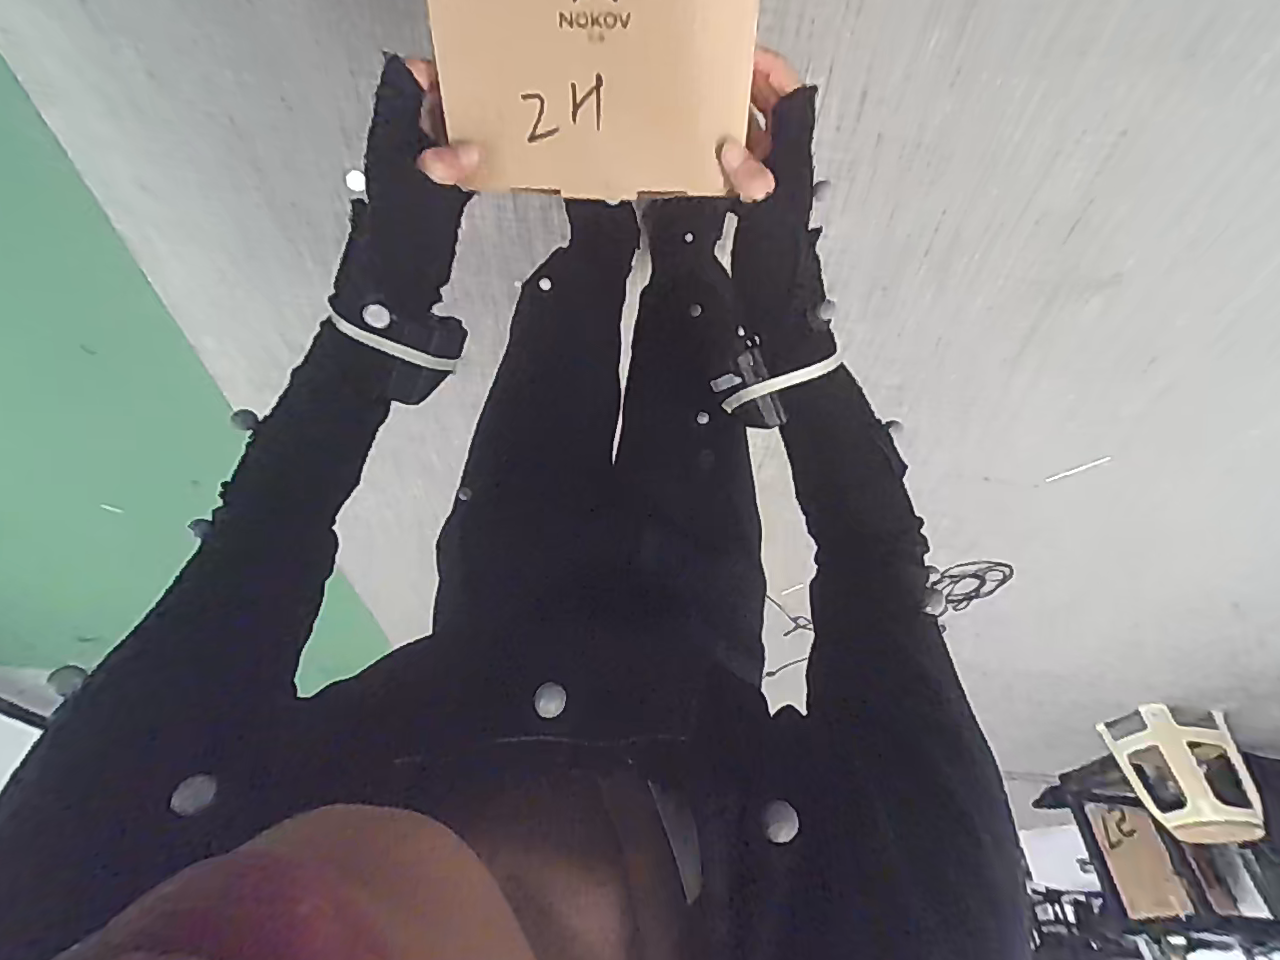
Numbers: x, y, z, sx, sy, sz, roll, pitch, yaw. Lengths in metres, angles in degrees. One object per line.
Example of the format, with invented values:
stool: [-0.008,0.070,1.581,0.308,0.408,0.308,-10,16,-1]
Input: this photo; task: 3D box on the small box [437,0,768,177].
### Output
small box: [-0.017,-0.289,0.327,0.168,0.176,0.179,2,123,1]
